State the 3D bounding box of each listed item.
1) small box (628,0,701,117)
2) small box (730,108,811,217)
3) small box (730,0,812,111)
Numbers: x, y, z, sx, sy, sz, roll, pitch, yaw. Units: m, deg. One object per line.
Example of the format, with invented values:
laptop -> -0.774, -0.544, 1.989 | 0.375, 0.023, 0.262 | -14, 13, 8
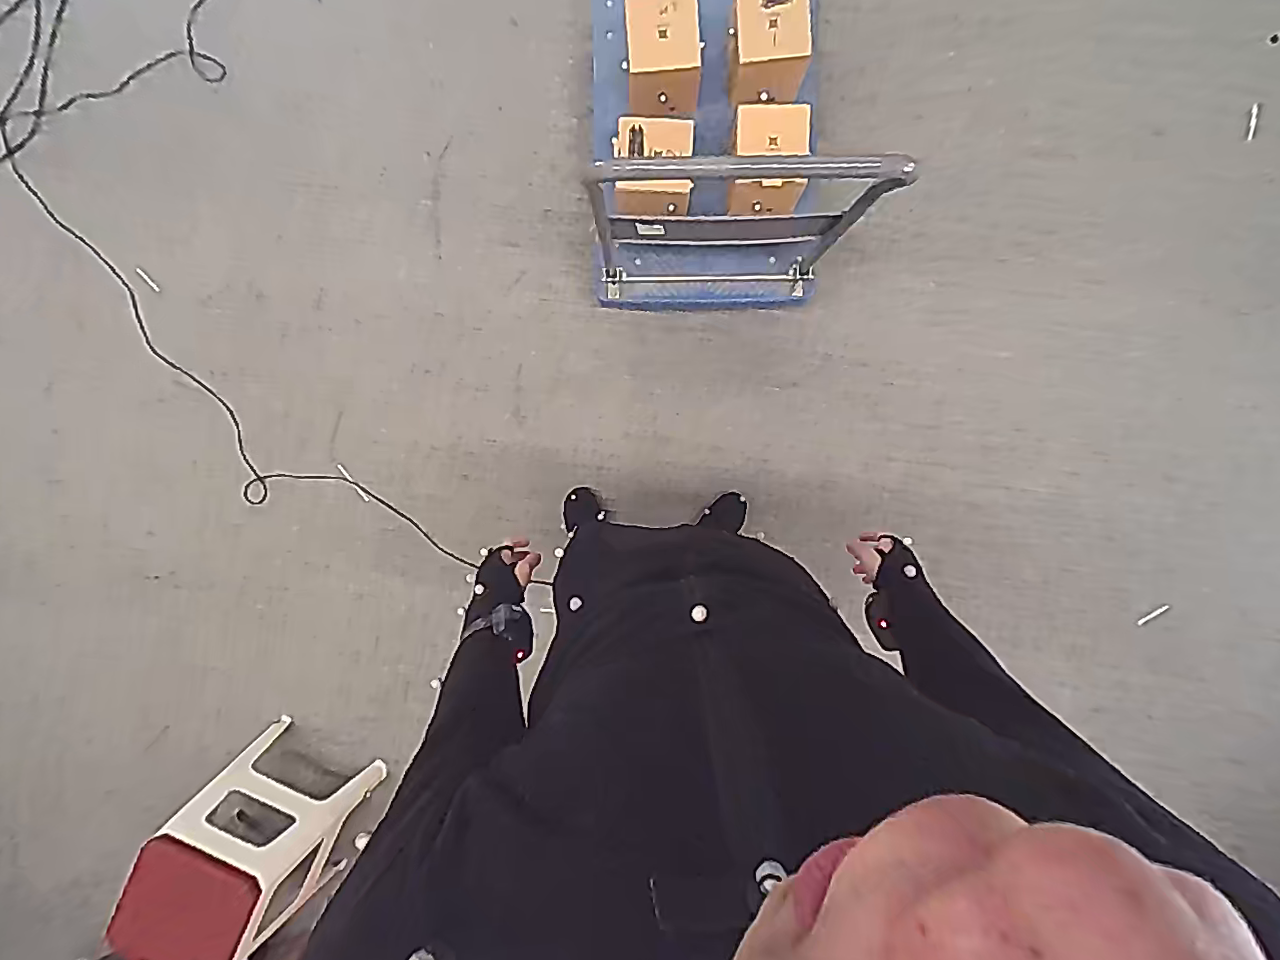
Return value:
small box -> 0.062, -1.027, 1.331 | 0.168, 0.176, 0.179 | -4, 92, 2
small box -> 0.315, -0.776, 1.331 | 0.168, 0.176, 0.179 | 1, 93, 2
small box -> 0.313, -1.046, 1.319 | 0.168, 0.176, 0.179 | -4, 93, 4
